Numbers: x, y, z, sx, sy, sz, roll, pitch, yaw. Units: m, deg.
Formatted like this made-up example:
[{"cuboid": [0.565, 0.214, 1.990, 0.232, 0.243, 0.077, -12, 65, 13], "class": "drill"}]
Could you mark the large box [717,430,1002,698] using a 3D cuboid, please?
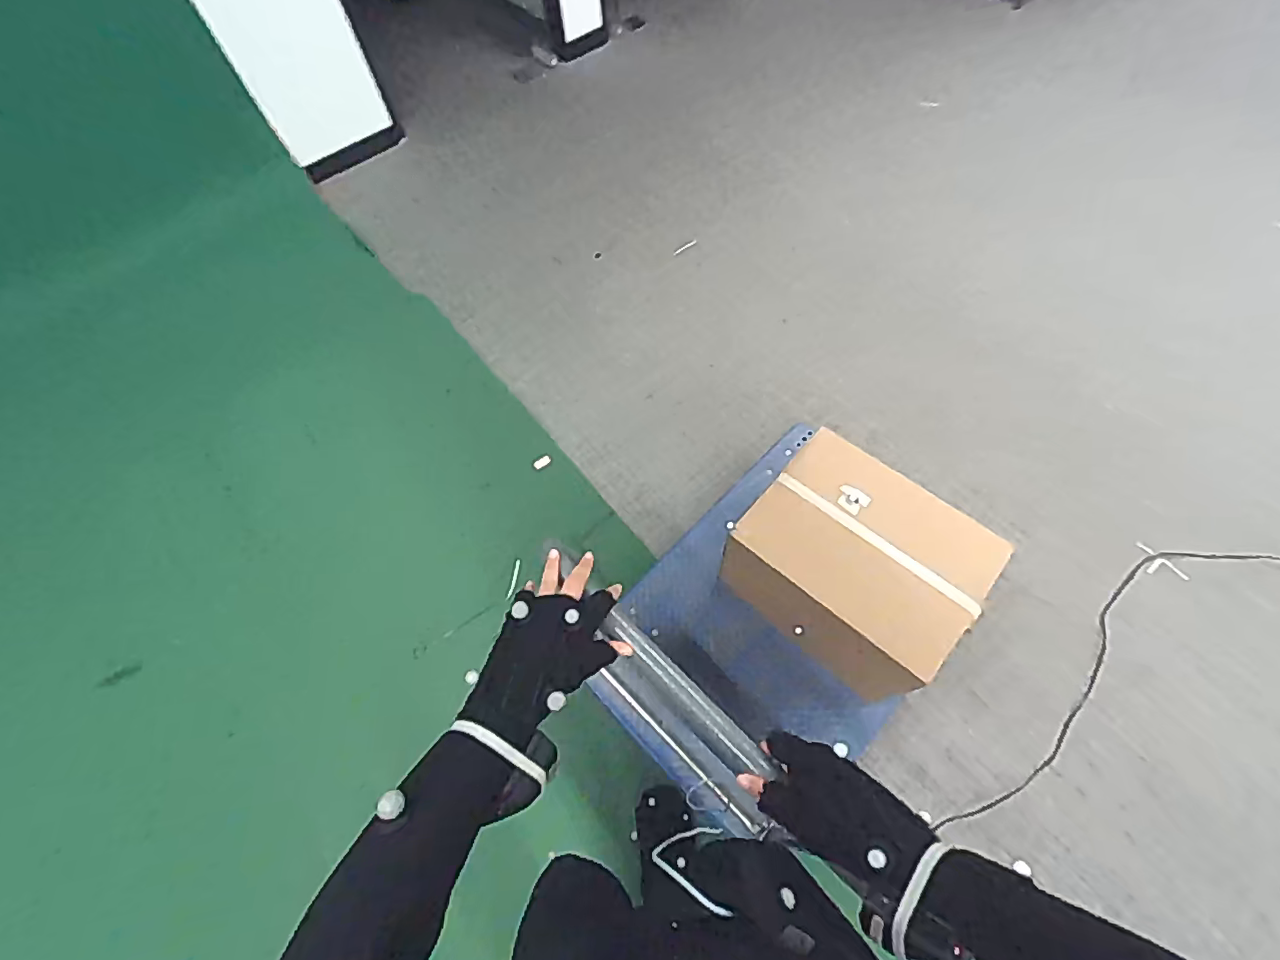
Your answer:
[{"cuboid": [0.411, 0.179, 1.113, 0.408, 0.320, 0.320, 38, 70, 22], "class": "large box"}]
